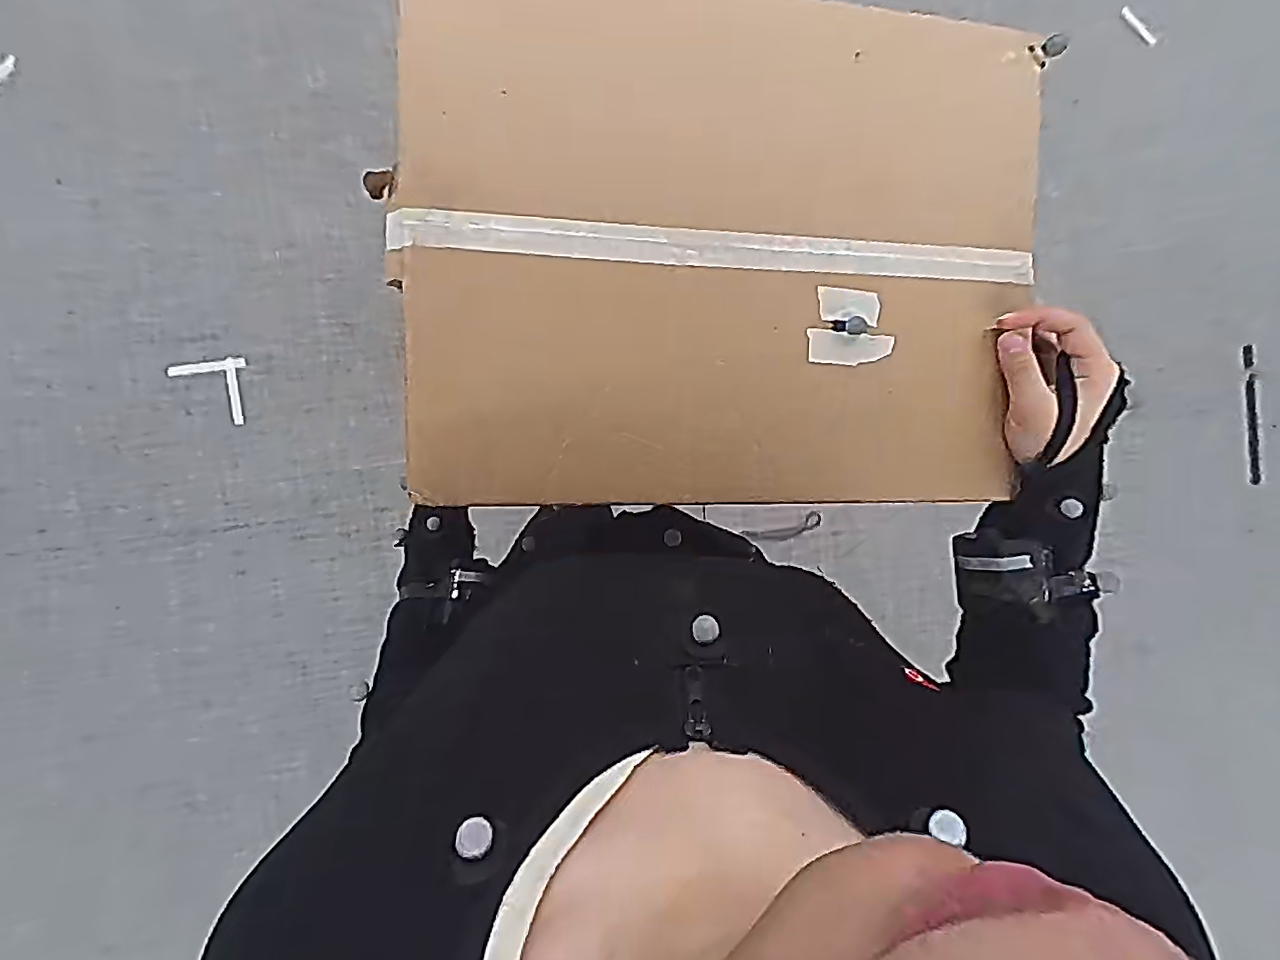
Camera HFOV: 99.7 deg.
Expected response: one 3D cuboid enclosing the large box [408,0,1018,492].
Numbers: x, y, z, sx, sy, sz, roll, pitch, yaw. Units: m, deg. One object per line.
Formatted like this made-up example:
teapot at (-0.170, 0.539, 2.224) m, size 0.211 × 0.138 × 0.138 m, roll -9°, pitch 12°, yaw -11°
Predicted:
large box at (0.037, -0.160, 0.490) m, size 0.408 × 0.320 × 0.320 m, roll 0°, pitch 94°, yaw -11°
